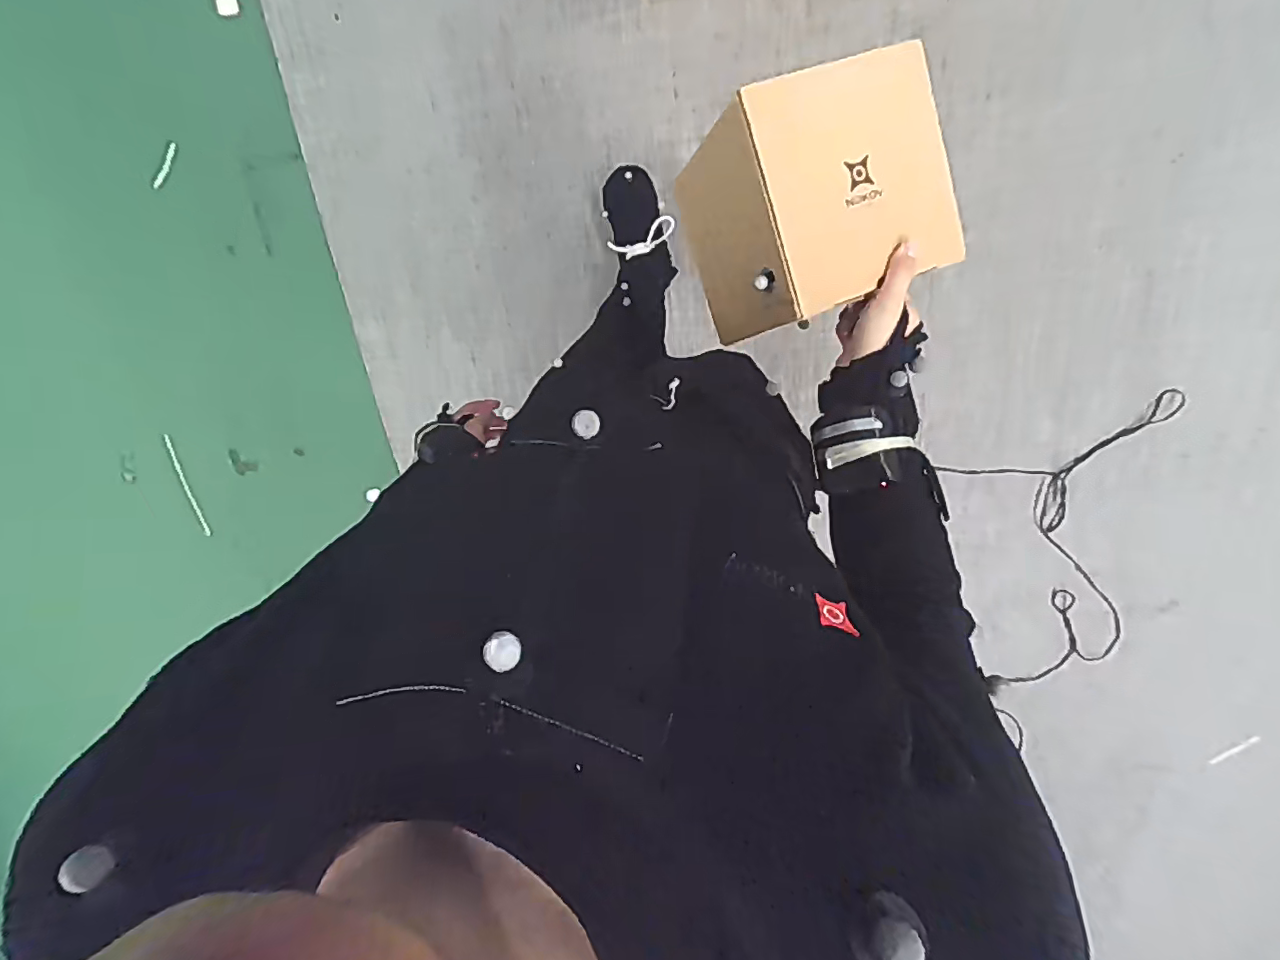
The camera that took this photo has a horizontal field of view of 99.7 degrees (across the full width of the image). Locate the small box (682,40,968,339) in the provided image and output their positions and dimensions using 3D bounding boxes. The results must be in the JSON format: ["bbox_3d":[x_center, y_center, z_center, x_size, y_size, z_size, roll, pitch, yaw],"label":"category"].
[{"bbox_3d":[0.156,-0.247,0.503,0.168,0.176,0.179,-22,102,-10],"label":"small box"}]
